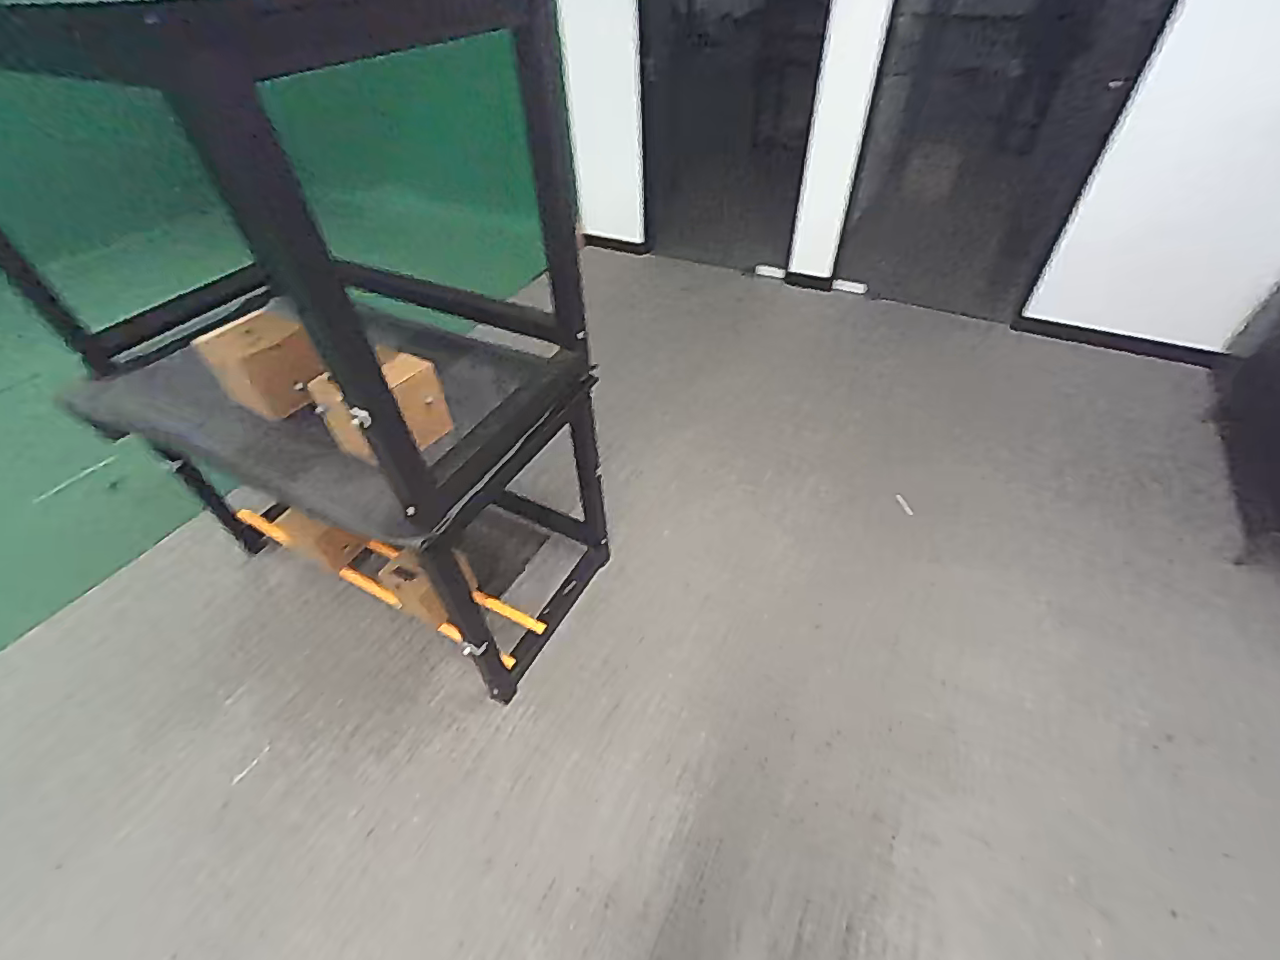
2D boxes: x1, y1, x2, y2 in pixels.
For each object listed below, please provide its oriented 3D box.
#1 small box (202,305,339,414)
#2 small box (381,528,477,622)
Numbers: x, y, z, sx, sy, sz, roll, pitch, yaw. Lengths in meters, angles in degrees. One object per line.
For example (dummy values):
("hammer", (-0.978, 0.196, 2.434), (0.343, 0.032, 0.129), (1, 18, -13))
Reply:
("small box", (-0.852, -0.279, 1.261), (0.179, 0.176, 0.168), (23, 51, 23))
("small box", (-0.603, 0.281, 1.573), (0.168, 0.176, 0.179), (23, 51, 23))
